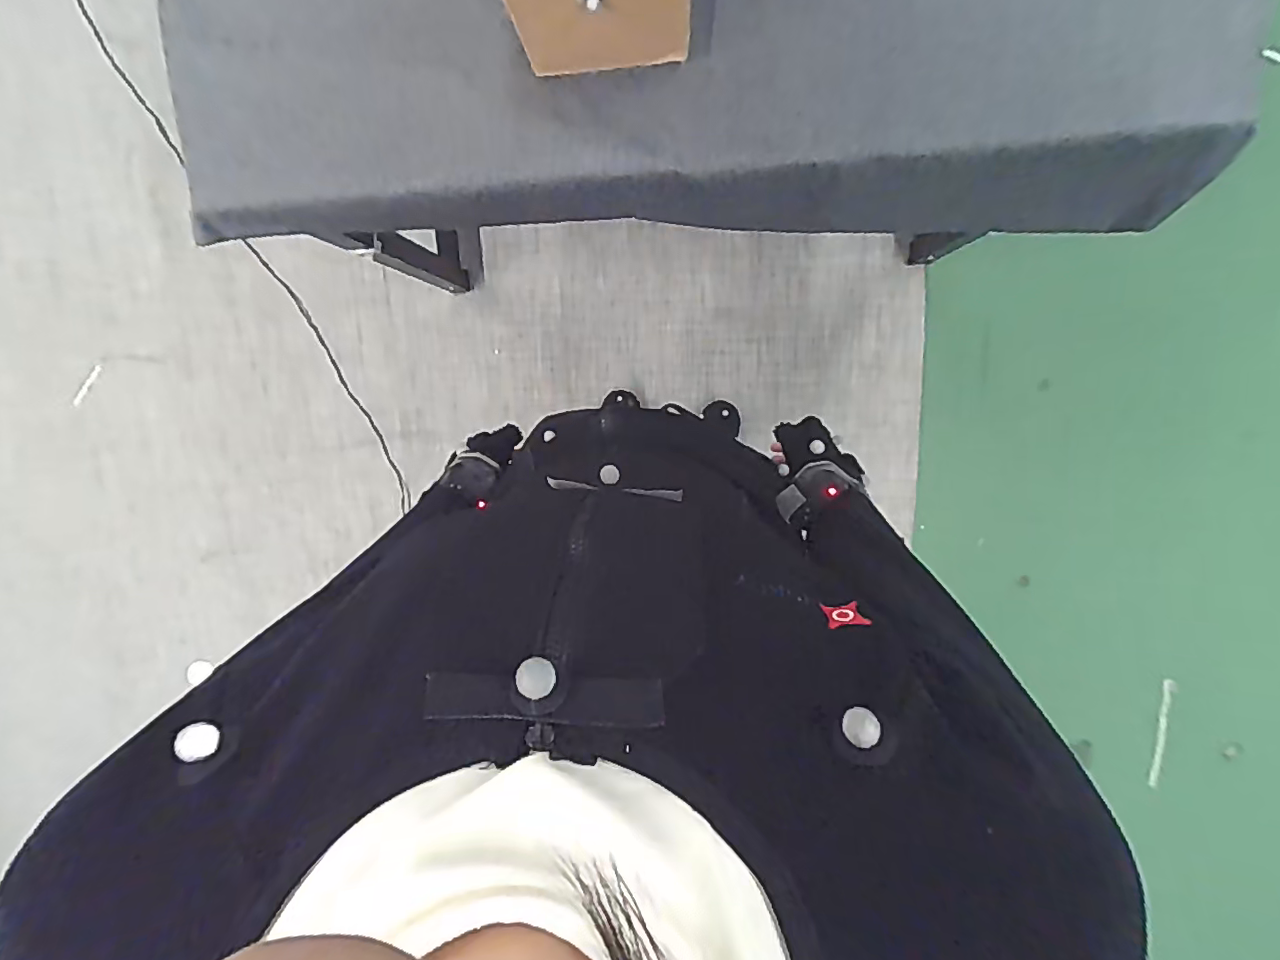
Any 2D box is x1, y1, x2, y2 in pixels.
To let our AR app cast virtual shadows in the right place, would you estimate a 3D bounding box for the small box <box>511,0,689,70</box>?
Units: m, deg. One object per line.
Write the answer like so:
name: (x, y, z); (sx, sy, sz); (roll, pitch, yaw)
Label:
small box: (-0.043, -0.529, 0.516); (0.179, 0.176, 0.168); (-3, 101, 3)
